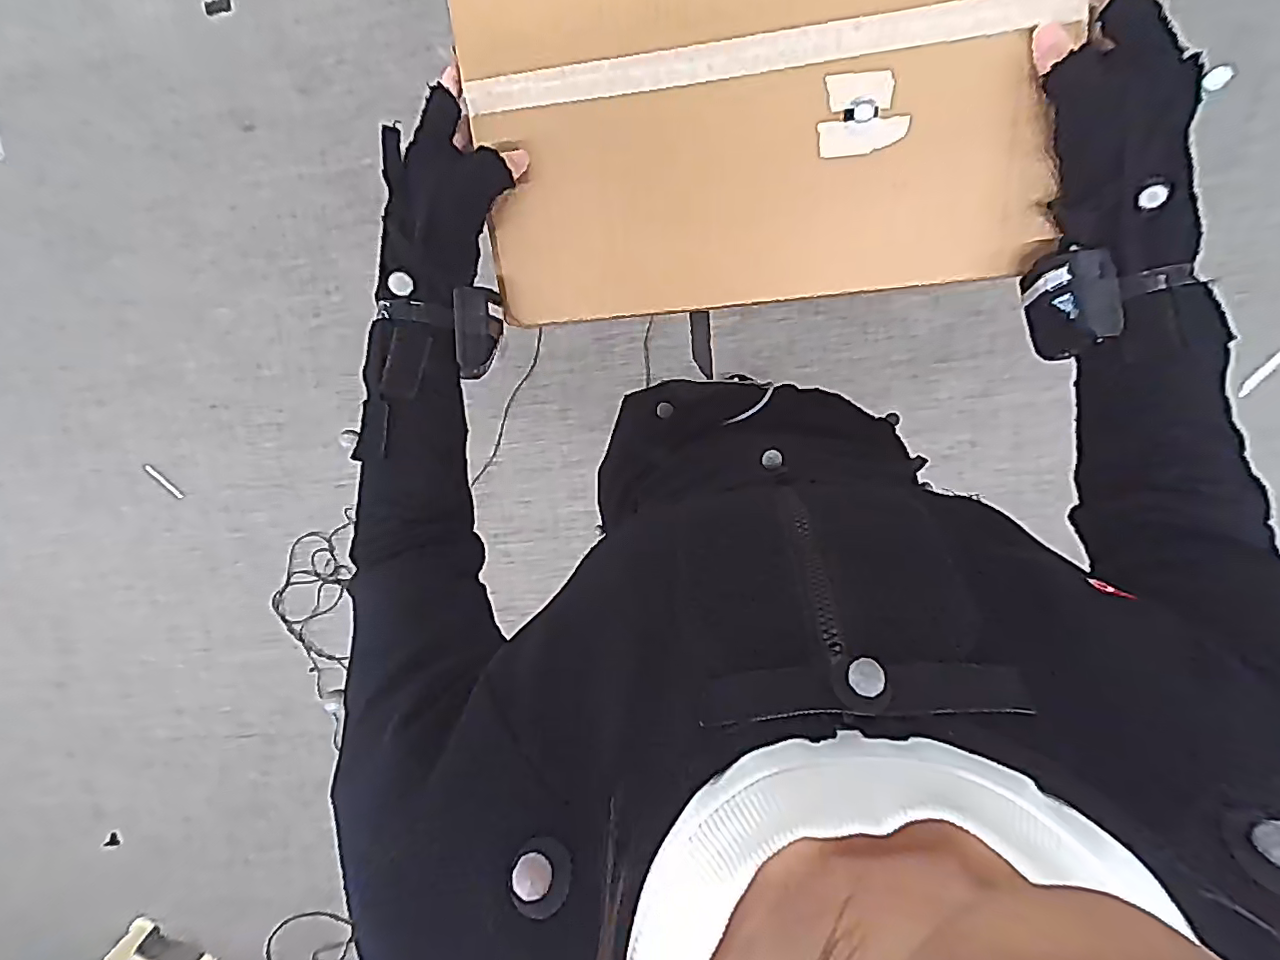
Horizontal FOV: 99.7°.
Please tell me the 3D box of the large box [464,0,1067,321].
[{"bbox_3d":[0.091,-0.337,0.513,0.408,0.320,0.320,-4,108,6],"label":"large box"}]
